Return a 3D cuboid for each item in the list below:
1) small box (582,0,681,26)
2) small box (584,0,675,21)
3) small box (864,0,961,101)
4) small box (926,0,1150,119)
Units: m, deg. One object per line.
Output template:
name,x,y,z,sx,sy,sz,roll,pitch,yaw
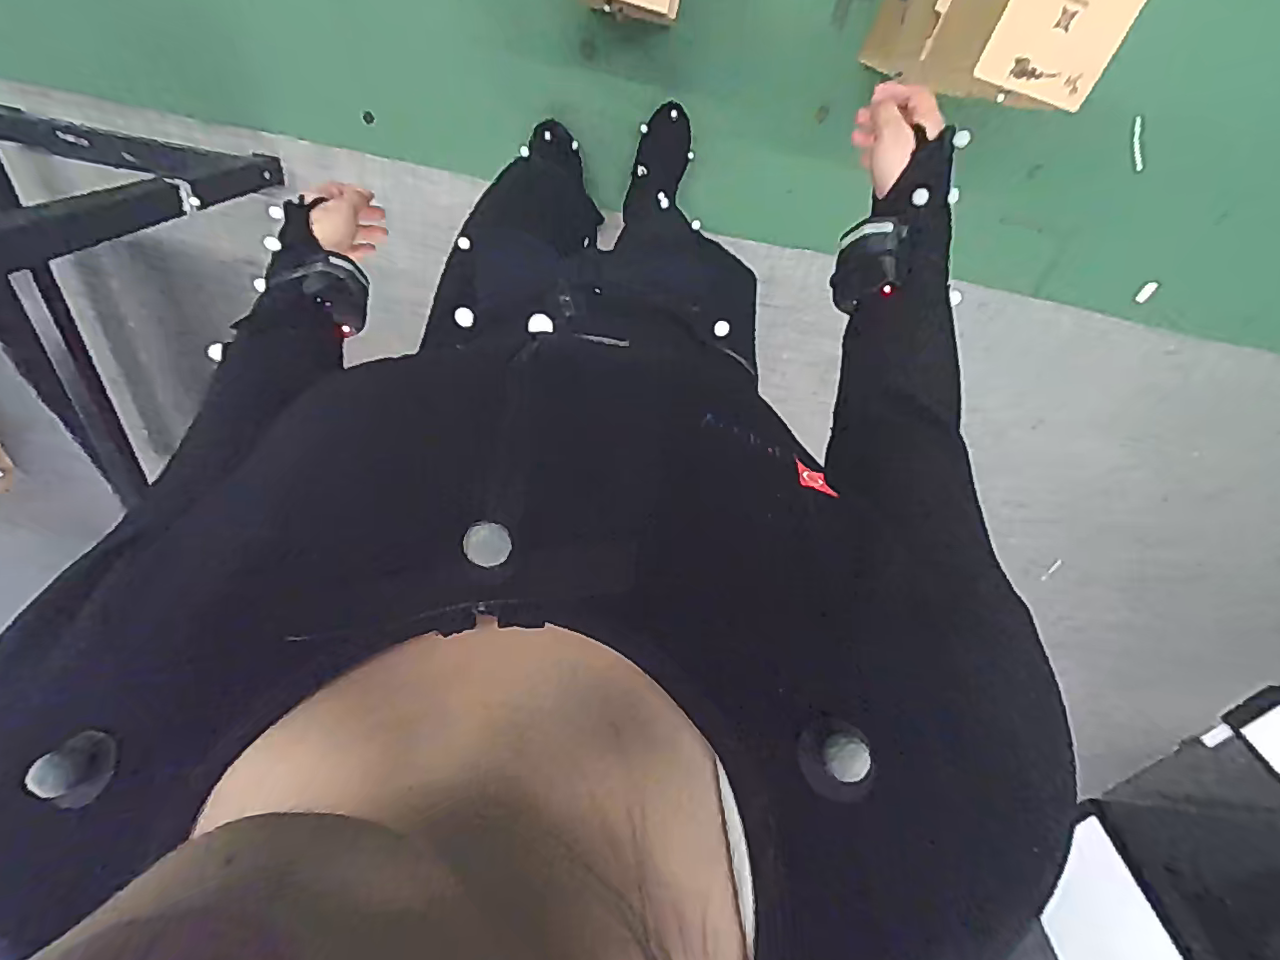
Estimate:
small box,-0.007,-0.902,0.927,0.179,0.176,0.168,8,128,-6
small box,-0.019,-0.803,0.797,0.179,0.176,0.168,10,128,-8
small box,0.538,-0.829,0.990,0.168,0.176,0.179,15,126,-12
small box,0.532,-0.621,0.735,0.168,0.176,0.179,11,126,-11
